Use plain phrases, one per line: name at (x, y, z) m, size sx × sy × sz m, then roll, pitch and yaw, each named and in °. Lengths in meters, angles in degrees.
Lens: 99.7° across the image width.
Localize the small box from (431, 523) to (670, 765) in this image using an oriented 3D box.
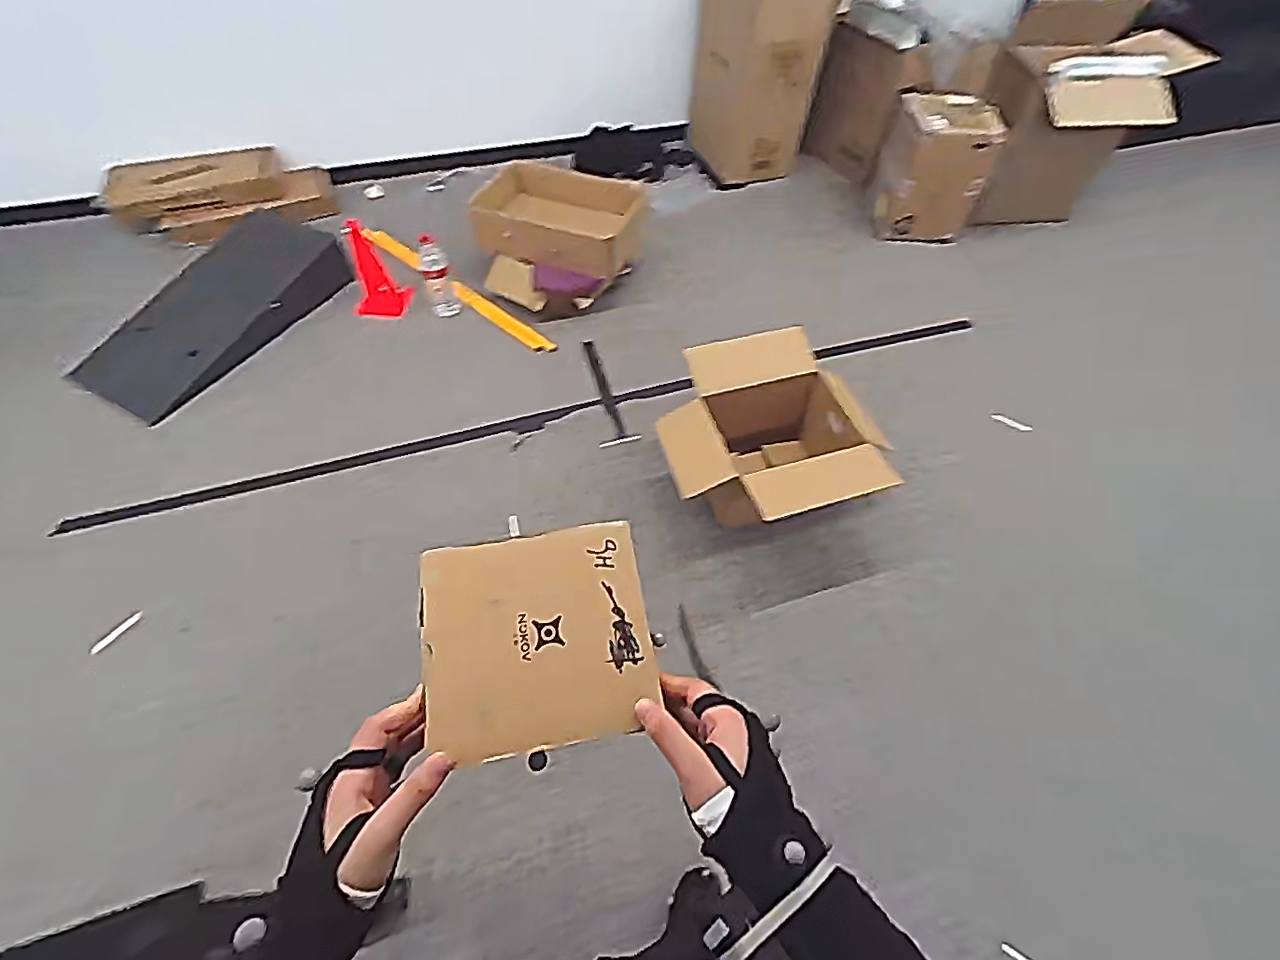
small box at (-0.077, 0.155, 0.495) m, size 0.179 × 0.176 × 0.168 m, roll -8°, pitch 65°, yaw -7°
